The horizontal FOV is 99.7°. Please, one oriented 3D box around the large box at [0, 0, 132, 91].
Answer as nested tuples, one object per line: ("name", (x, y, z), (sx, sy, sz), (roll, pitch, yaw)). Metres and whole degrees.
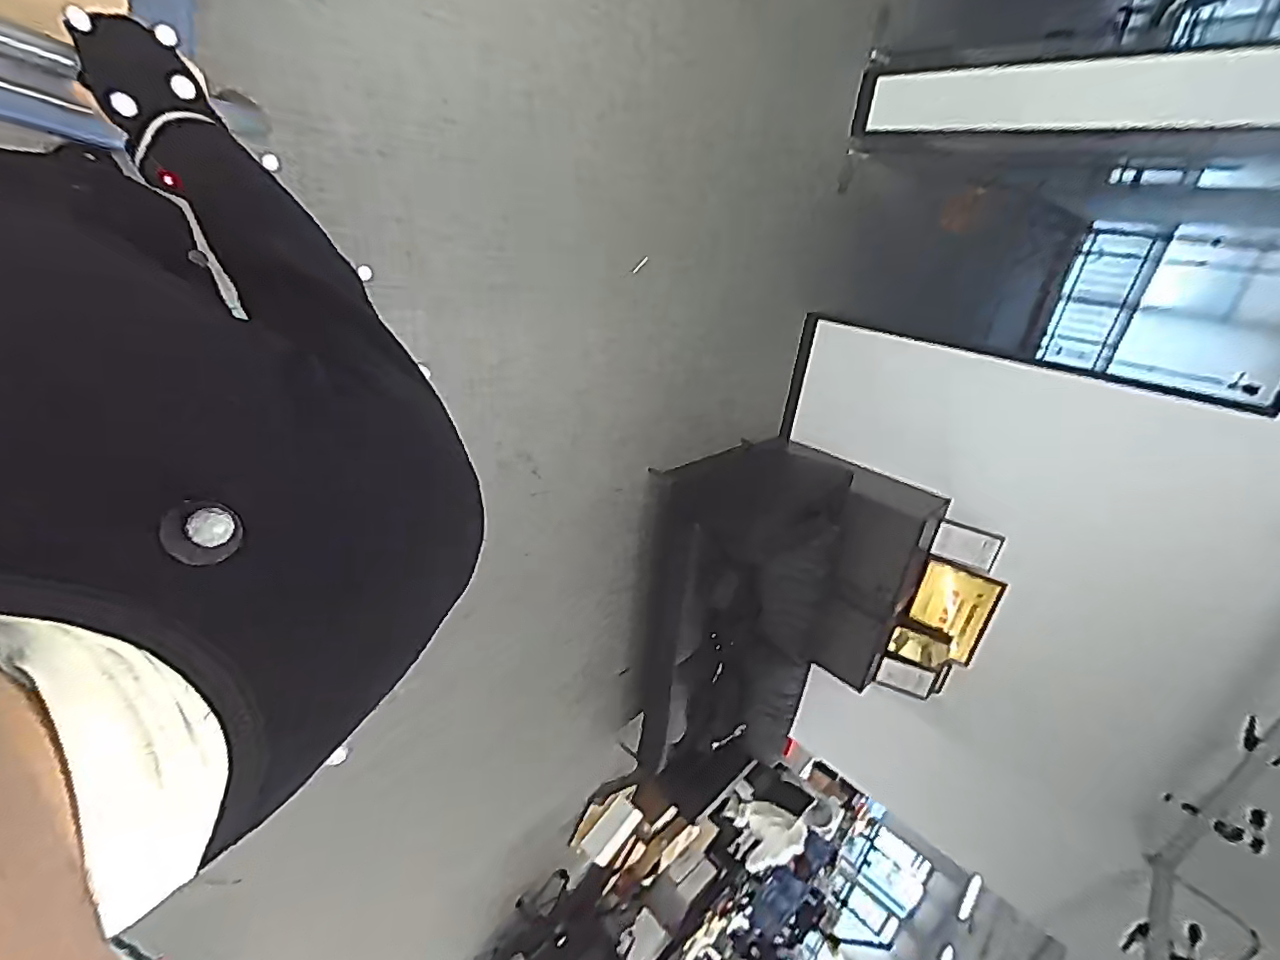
("large box", (-0.880, -0.791, 0.680), (0.320, 0.320, 0.408), (-6, 115, -48))
